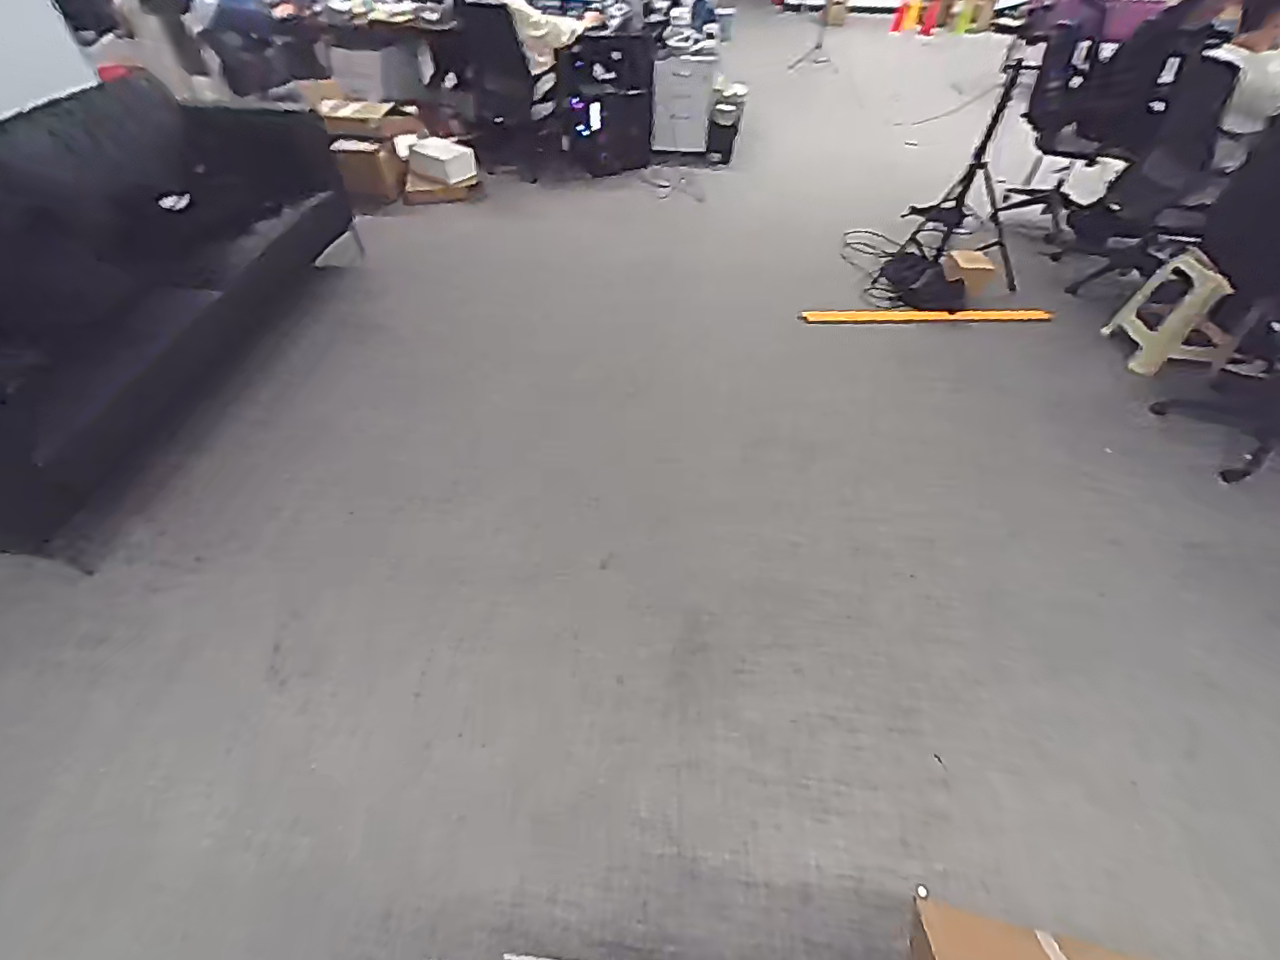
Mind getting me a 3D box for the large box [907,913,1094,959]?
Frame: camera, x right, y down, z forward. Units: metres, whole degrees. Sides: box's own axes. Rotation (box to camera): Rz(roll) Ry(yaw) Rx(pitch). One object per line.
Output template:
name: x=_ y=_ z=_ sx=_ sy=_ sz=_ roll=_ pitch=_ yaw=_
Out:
large box: x=0.472 y=0.778 z=0.545 sx=0.320 sy=0.408 sz=0.320 roll=8 pitch=89 yaw=14
